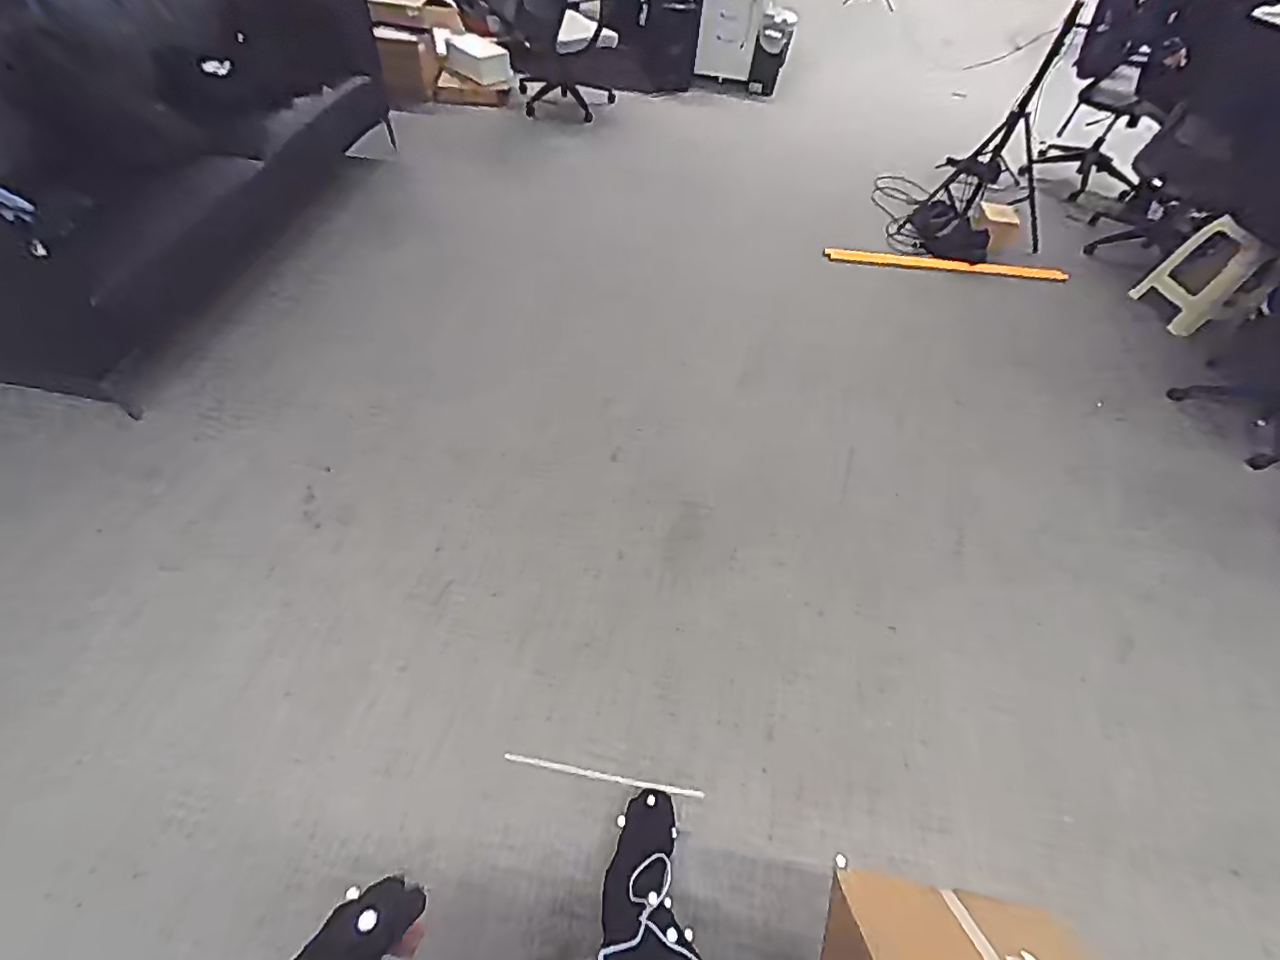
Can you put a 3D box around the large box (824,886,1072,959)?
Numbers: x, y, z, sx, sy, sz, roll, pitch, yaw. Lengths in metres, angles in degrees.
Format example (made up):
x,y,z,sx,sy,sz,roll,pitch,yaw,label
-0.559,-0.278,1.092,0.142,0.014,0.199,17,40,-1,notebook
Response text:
x,y,z,sx,sy,sz,roll,pitch,yaw,label
0.404,0.767,0.595,0.320,0.408,0.320,10,88,4,large box
